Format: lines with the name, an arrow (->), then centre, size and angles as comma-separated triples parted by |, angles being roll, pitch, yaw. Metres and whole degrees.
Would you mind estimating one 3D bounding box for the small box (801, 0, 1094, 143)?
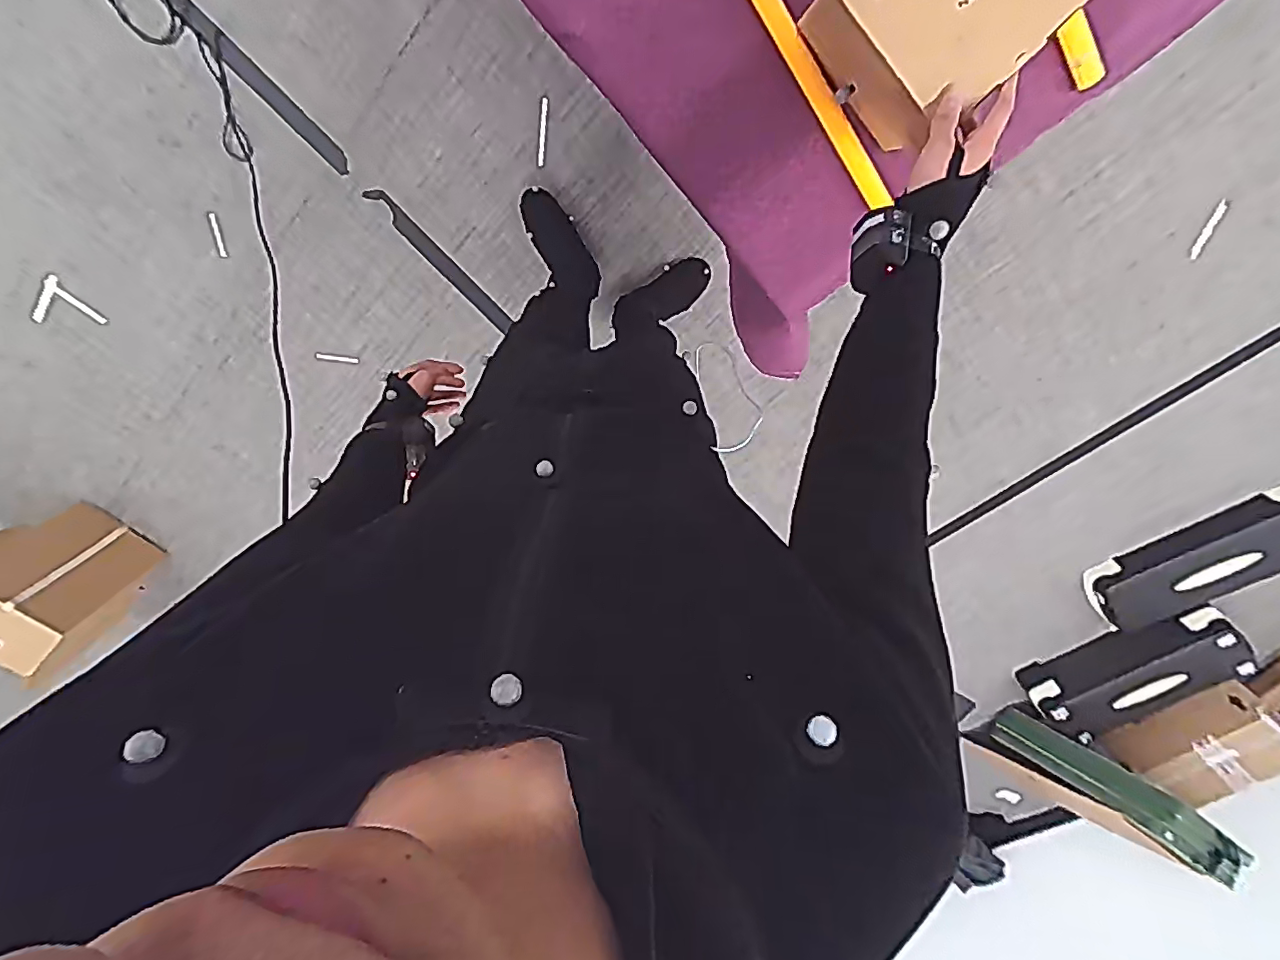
small box -> 0.286, -0.466, 0.527 | 0.179, 0.176, 0.168 | 40, 114, -18
